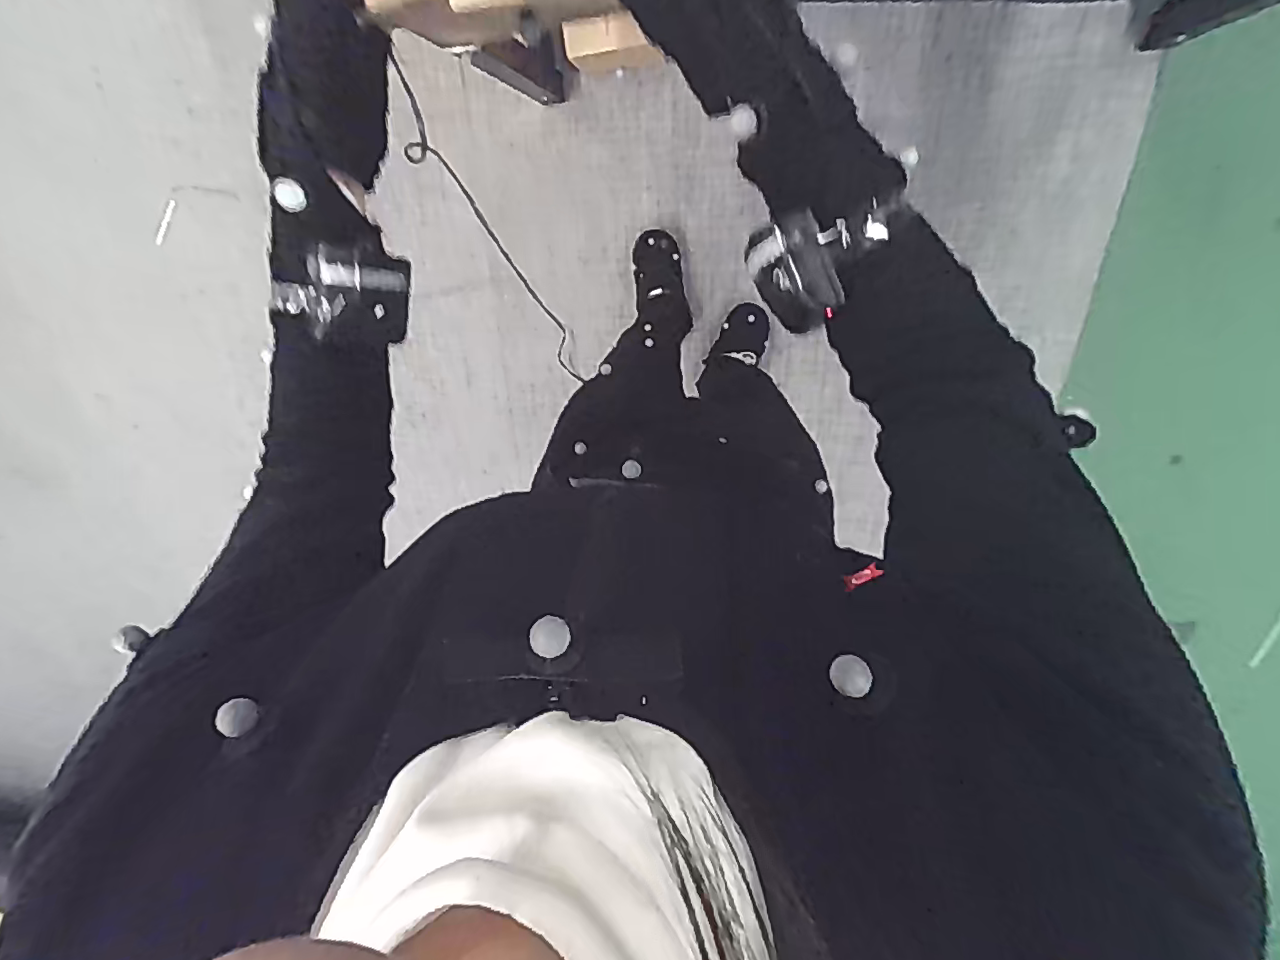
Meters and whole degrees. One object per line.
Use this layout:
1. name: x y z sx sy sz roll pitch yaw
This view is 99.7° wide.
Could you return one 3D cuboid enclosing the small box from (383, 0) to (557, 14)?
1. small box: -0.089 -0.407 0.324 0.168 0.176 0.179 -2 124 10
